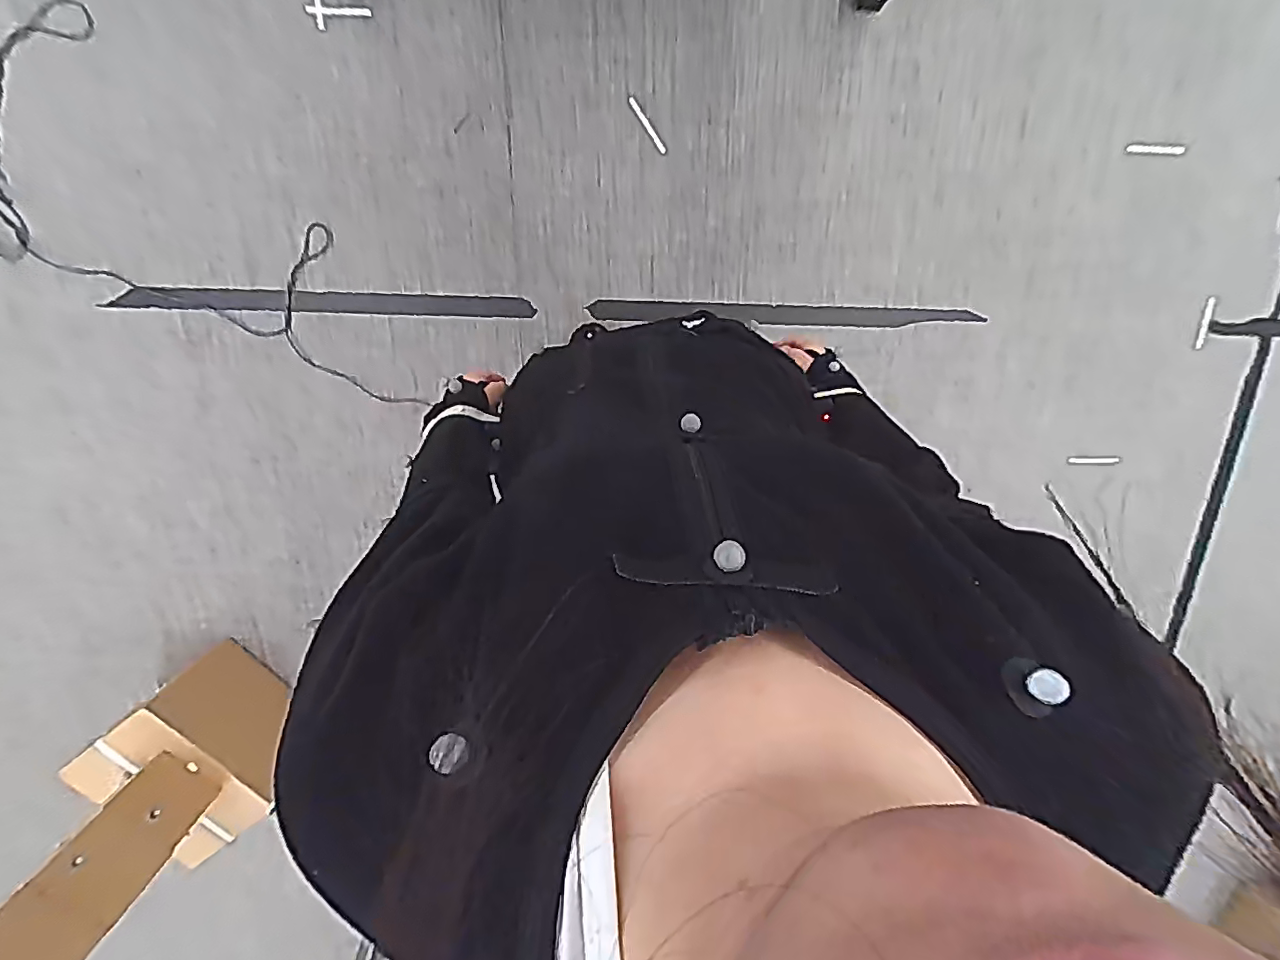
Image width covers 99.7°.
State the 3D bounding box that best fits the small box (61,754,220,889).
[{"bbox_3d":[-1.145,0.786,1.259,0.168,0.176,0.179,-40,103,7],"label":"small box"}]

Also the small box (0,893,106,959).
[{"bbox_3d":[-1.122,0.873,0.942,0.168,0.176,0.179,-39,104,7],"label":"small box"}]
